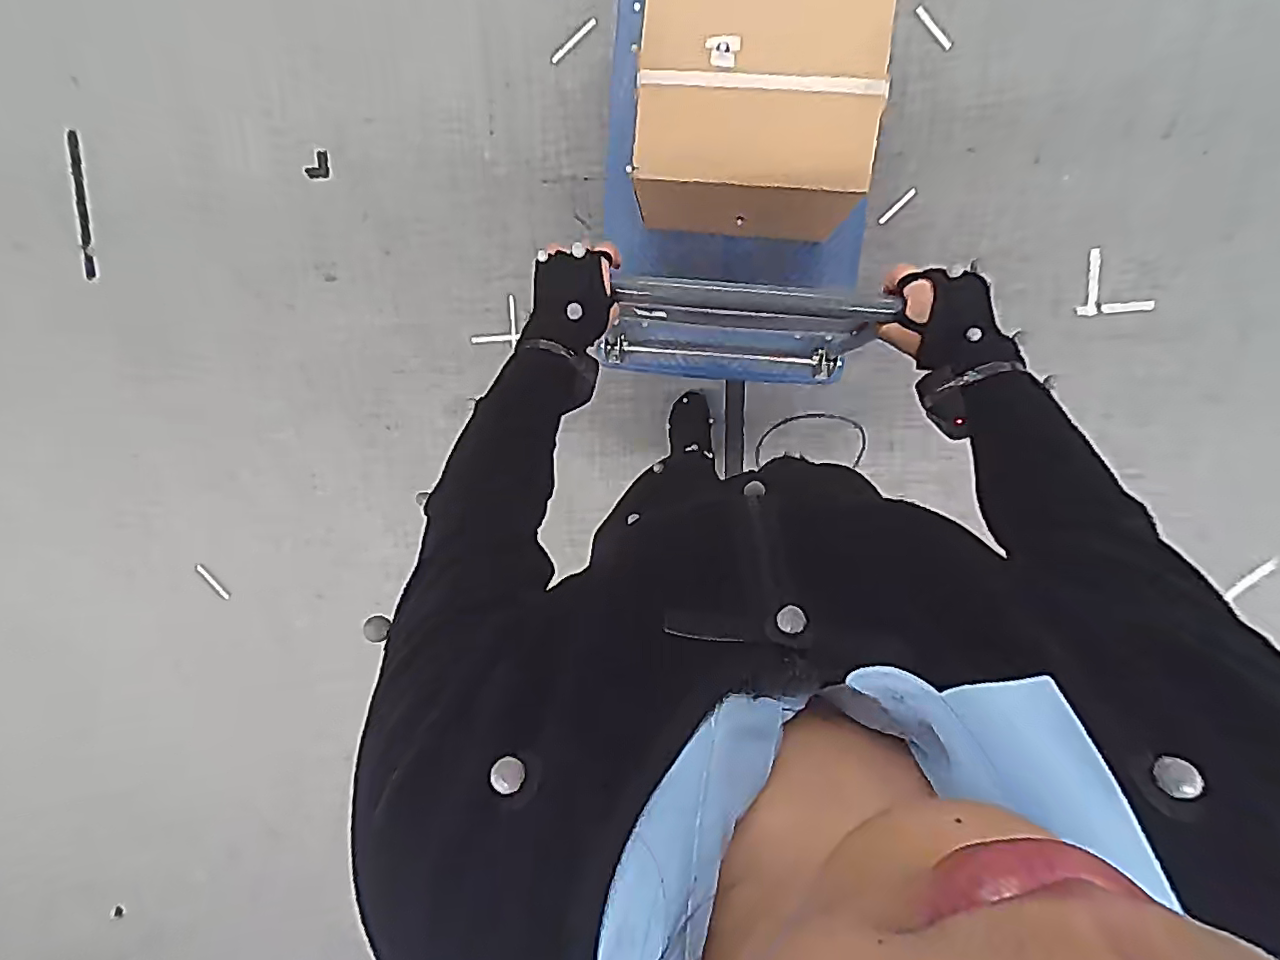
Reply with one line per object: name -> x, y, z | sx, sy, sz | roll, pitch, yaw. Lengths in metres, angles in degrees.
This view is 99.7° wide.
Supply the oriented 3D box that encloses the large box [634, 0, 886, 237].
large box -> 0.214, -0.687, 1.066 | 0.408, 0.320, 0.320 | 6, 98, 5
